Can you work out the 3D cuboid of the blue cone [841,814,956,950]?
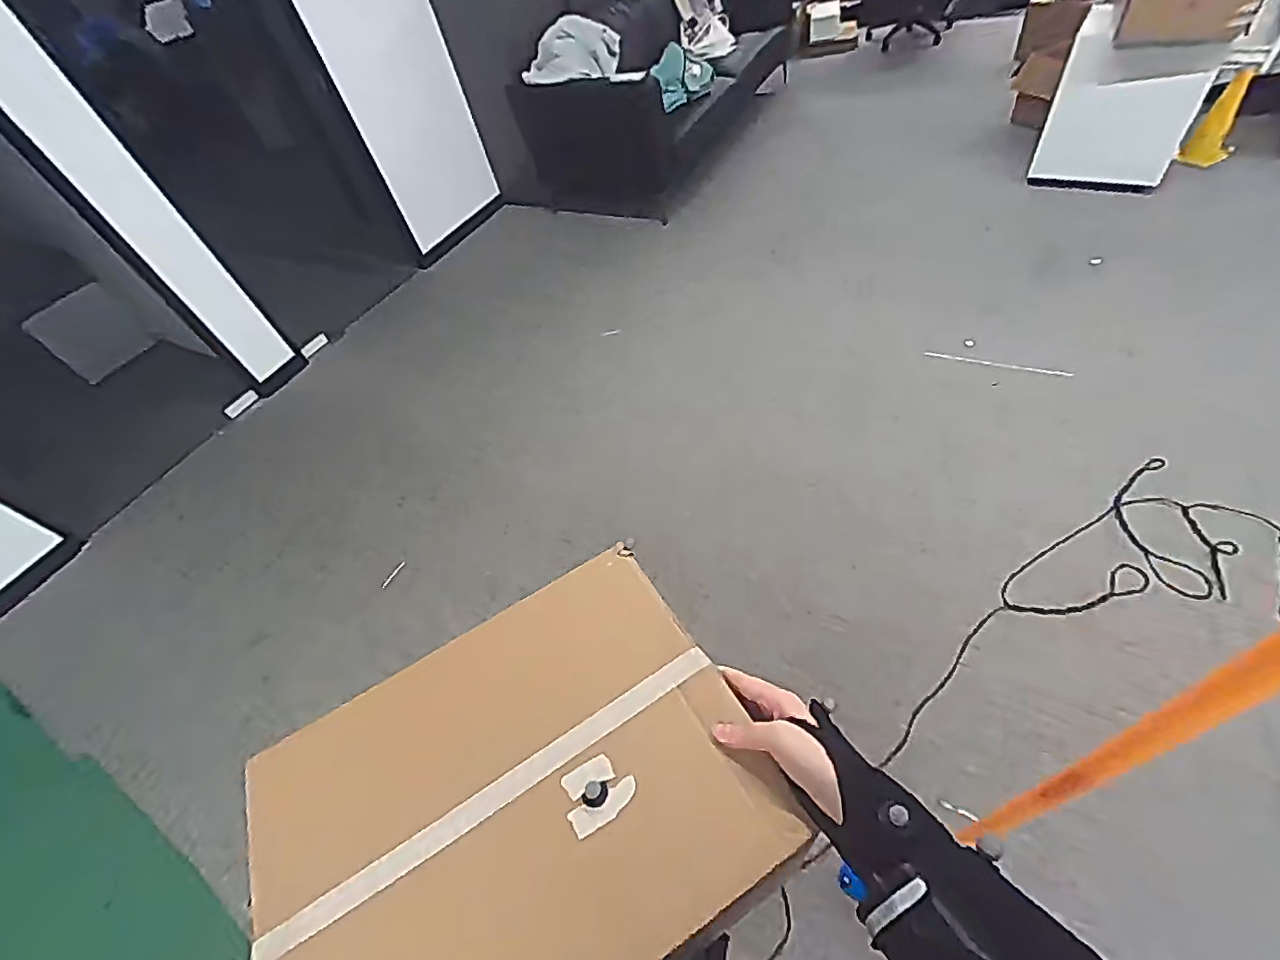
[{"bbox_3d":[0.512,0.731,1.009,0.193,0.380,0.192,26,61,30],"label":"blue cone"}]

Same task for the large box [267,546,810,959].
[{"bbox_3d":[-0.088,0.353,0.573,0.408,0.320,0.320,-28,51,-14],"label":"large box"}]
